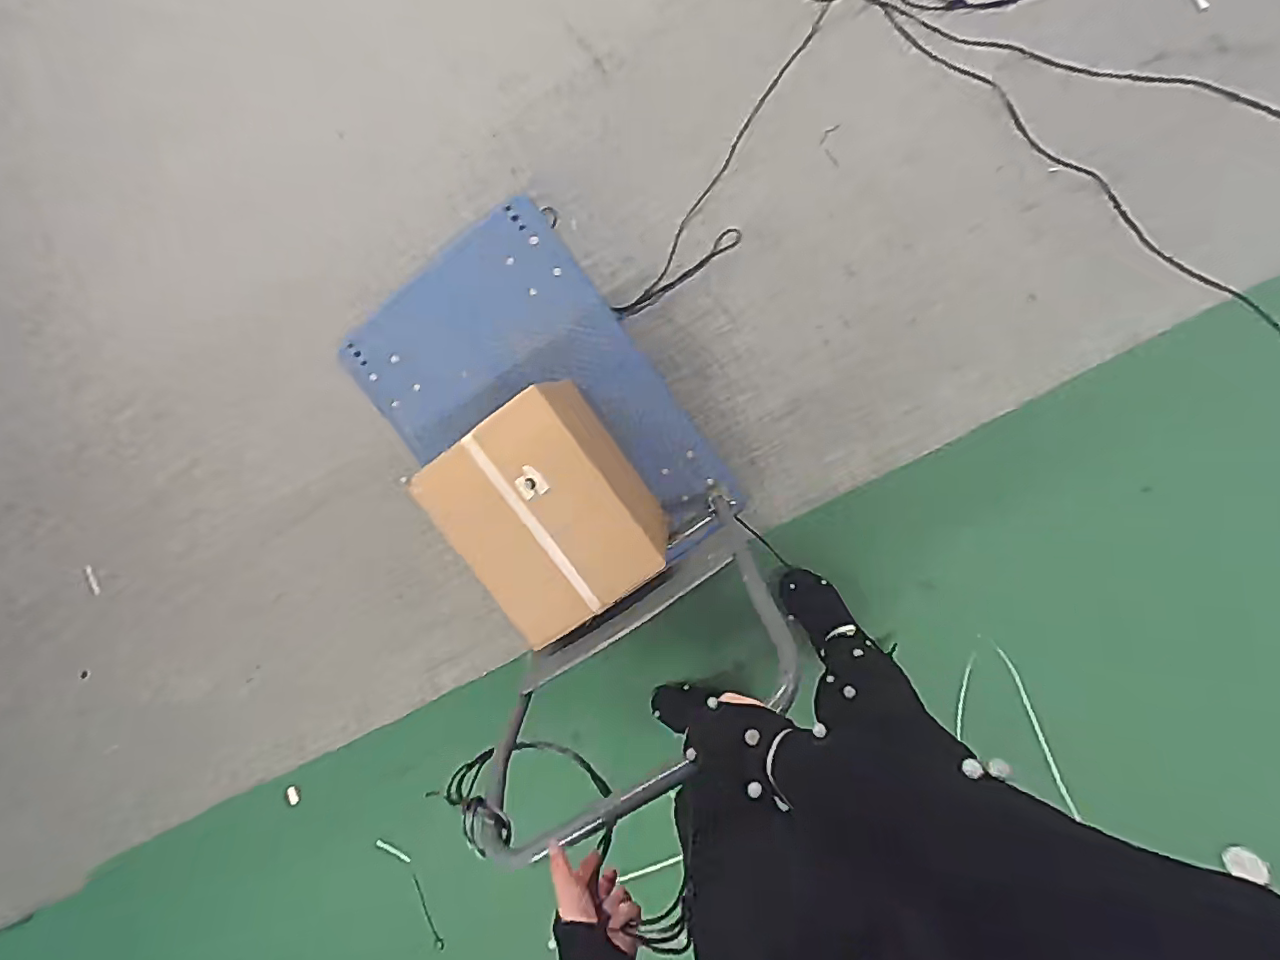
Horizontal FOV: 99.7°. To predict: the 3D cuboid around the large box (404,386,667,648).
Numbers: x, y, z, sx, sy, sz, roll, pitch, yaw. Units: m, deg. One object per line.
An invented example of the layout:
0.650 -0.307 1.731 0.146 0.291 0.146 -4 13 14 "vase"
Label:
-0.184 0.056 1.134 0.320 0.320 0.408 -35 97 10 "large box"
